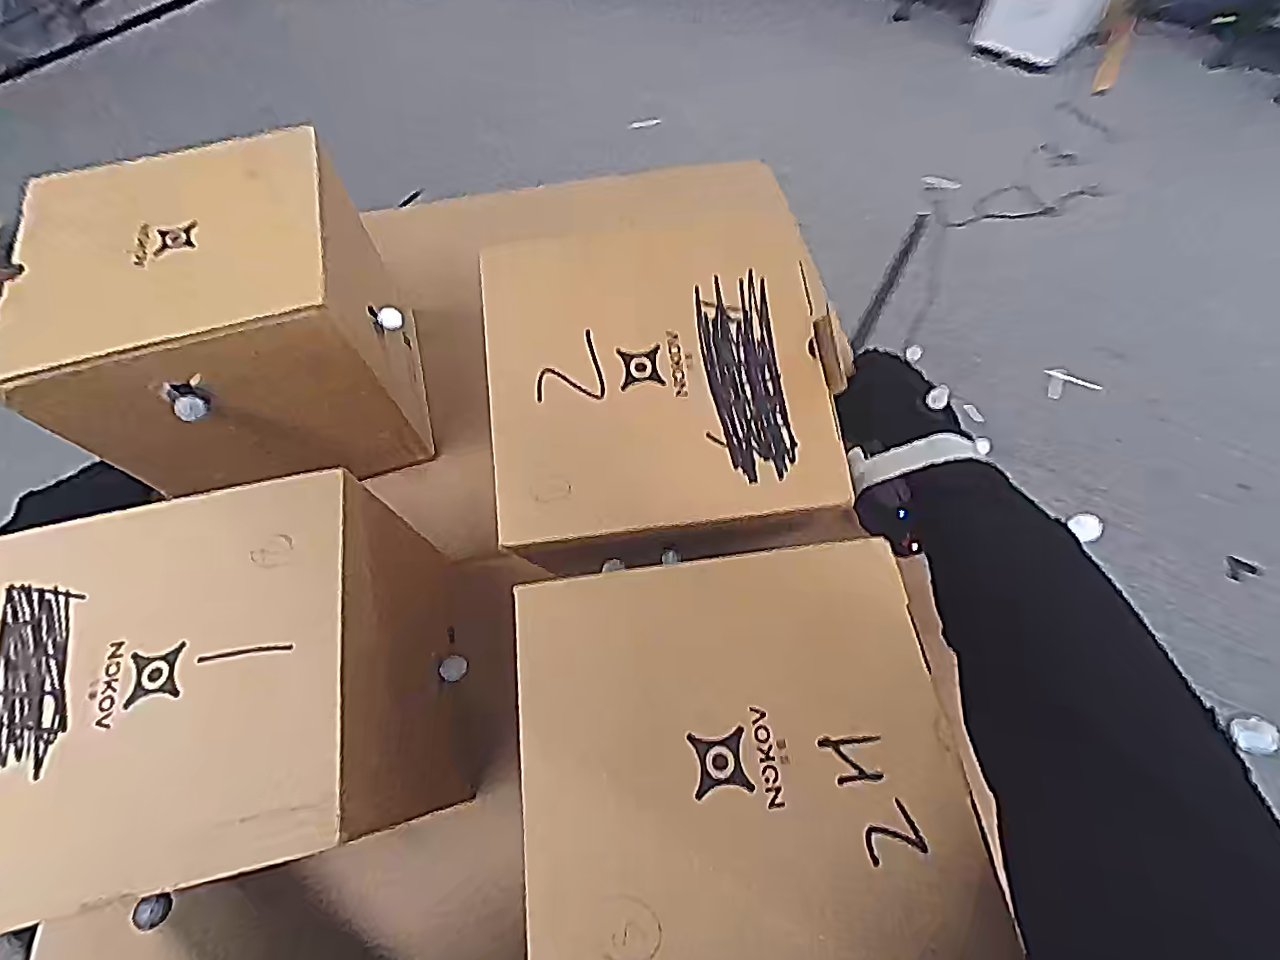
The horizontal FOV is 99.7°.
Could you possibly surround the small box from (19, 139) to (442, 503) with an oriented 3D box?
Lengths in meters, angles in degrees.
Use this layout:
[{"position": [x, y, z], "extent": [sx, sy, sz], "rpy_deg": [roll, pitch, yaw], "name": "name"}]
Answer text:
[{"position": [-0.258, -0.104, 0.395], "extent": [0.179, 0.176, 0.168], "rpy_deg": [-15, 64, -5], "name": "small box"}]
